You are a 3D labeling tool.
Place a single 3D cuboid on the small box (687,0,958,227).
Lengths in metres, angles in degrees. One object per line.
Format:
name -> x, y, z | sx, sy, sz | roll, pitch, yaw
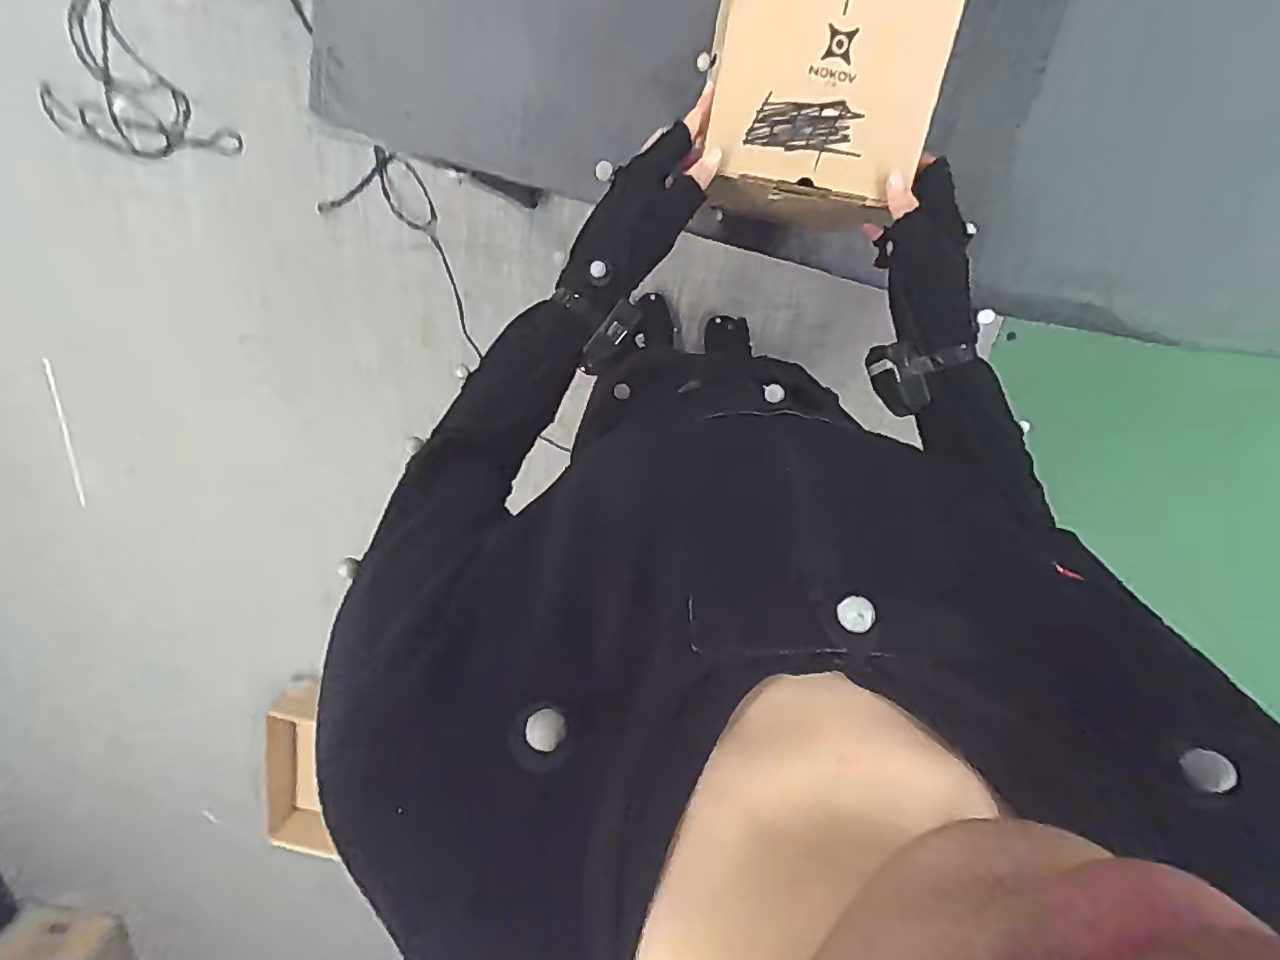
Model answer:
small box -> 0.137, -0.332, 0.469 | 0.168, 0.176, 0.179 | 9, 108, -3
